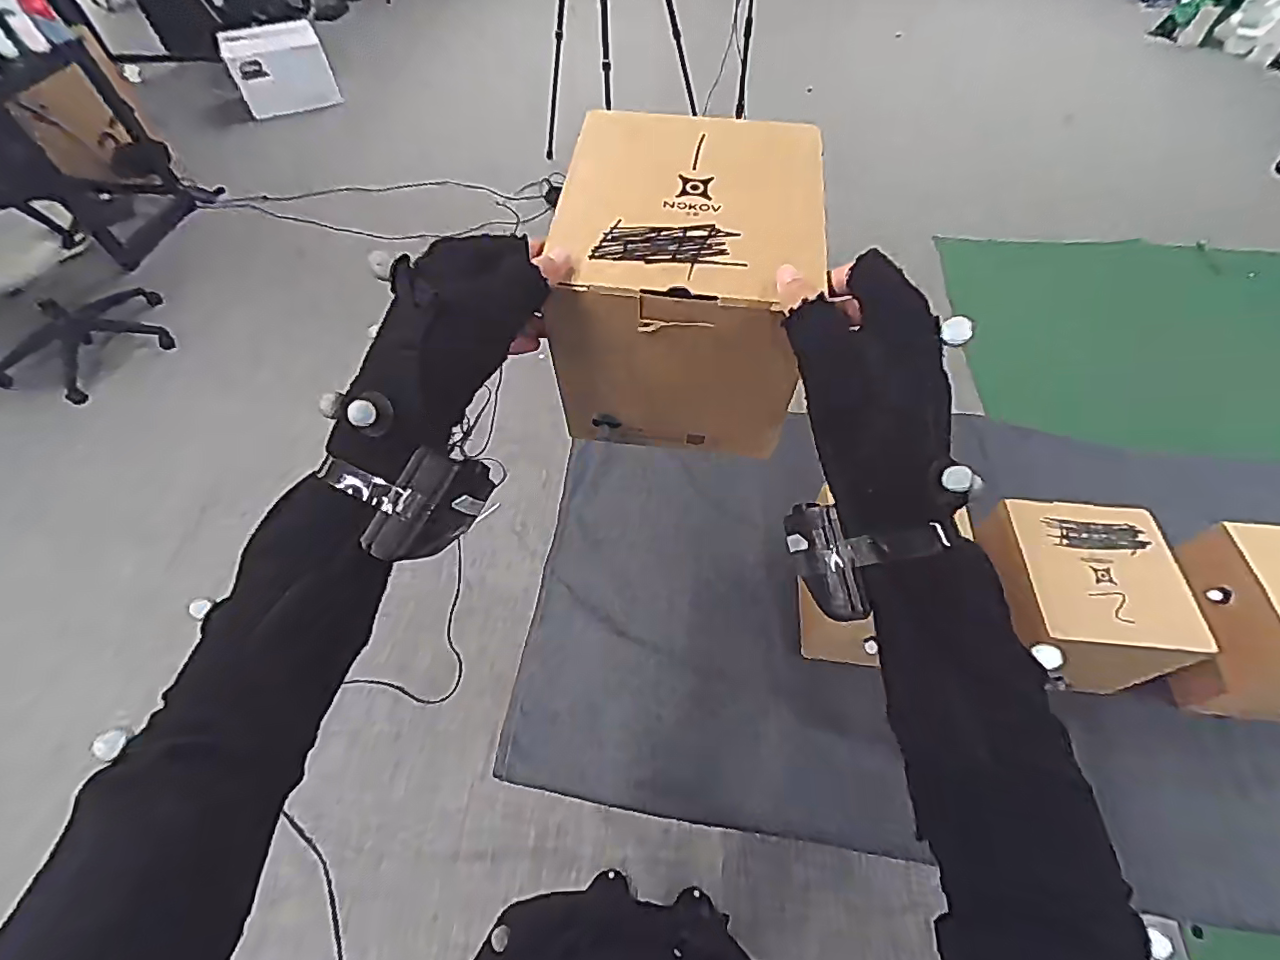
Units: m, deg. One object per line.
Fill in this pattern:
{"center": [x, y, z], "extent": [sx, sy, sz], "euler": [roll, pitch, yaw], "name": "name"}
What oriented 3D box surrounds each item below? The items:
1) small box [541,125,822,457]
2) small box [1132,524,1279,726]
{"center": [0.034, -0.135, 0.417], "extent": [0.168, 0.176, 0.179], "euler": [6, 61, 4], "name": "small box"}
{"center": [0.749, 0.175, 0.639], "extent": [0.168, 0.176, 0.179], "euler": [4, 54, 6], "name": "small box"}
